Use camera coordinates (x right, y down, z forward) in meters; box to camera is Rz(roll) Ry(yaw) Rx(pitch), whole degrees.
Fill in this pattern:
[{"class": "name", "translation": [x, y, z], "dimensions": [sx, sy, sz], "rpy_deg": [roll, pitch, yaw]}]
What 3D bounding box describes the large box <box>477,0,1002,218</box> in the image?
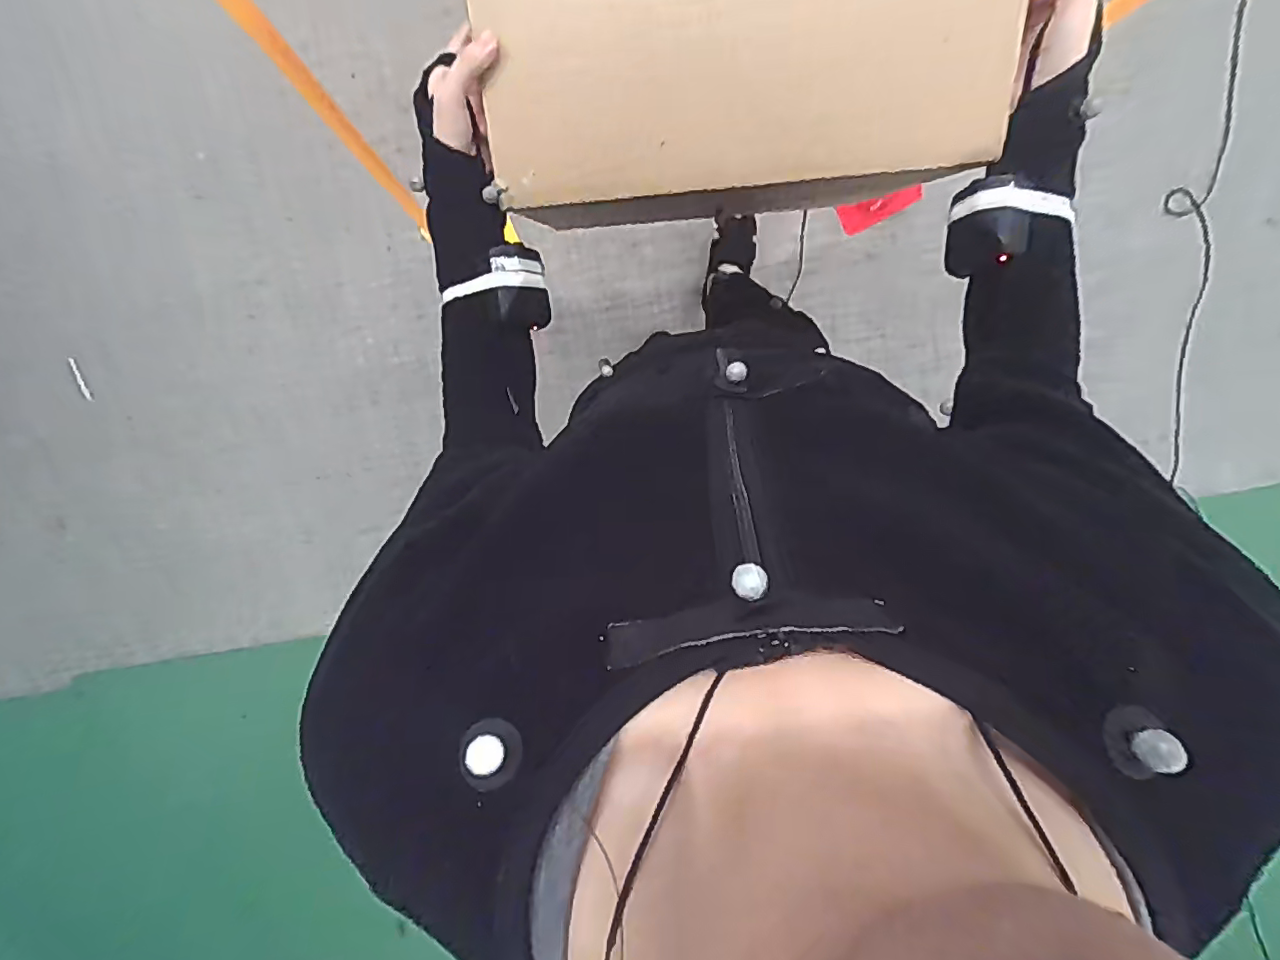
[{"class": "large box", "translation": [0.074, -0.451, 0.531], "dimensions": [0.408, 0.320, 0.320], "rpy_deg": [-4, 112, 2]}]
